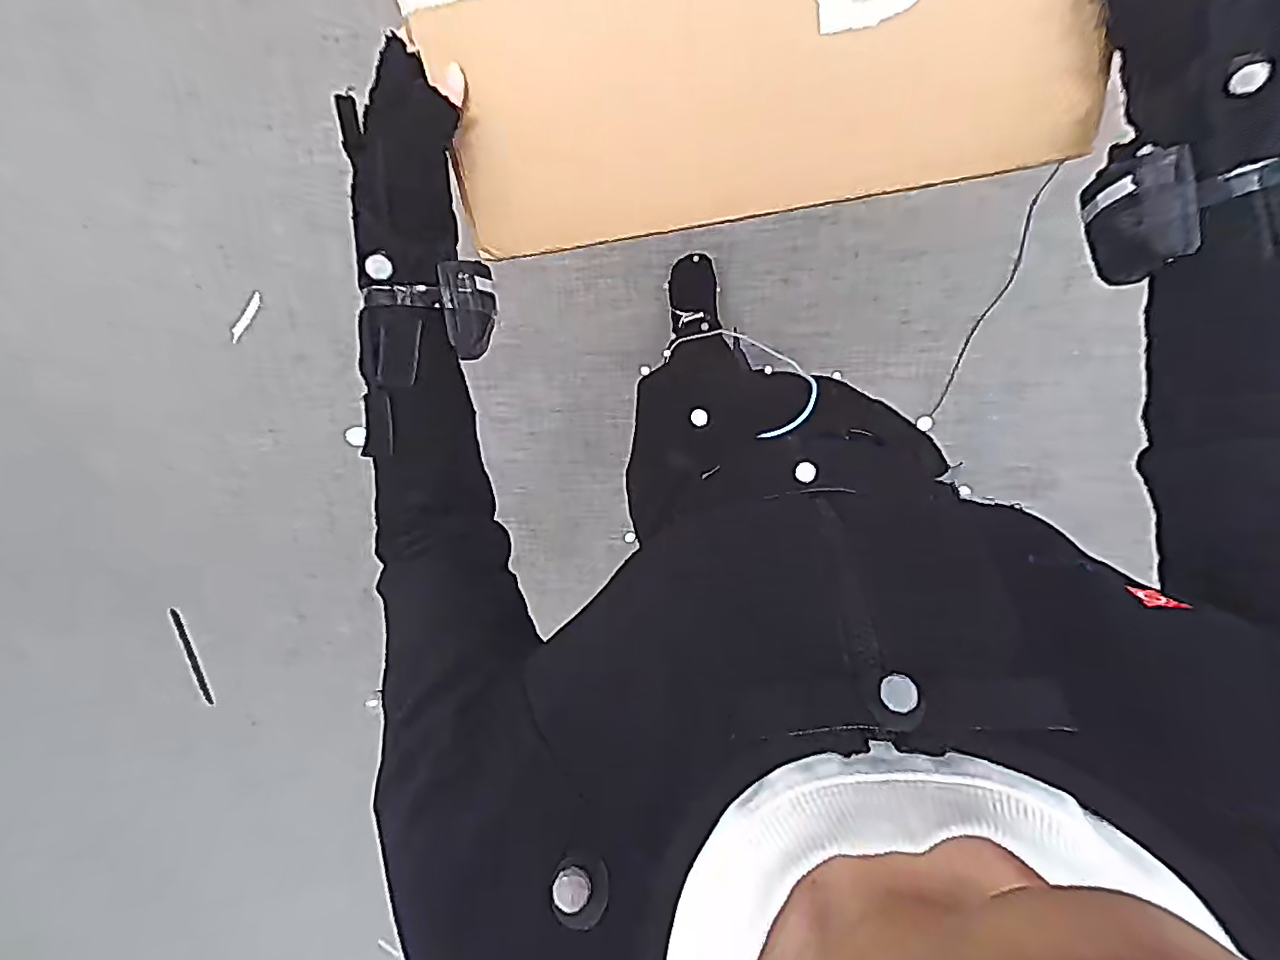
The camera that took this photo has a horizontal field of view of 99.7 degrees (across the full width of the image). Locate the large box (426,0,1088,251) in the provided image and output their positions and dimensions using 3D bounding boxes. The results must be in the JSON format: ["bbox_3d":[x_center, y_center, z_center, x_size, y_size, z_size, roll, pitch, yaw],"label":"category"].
[{"bbox_3d":[0.066,-0.401,0.443,0.408,0.320,0.320,-7,118,8],"label":"large box"}]
